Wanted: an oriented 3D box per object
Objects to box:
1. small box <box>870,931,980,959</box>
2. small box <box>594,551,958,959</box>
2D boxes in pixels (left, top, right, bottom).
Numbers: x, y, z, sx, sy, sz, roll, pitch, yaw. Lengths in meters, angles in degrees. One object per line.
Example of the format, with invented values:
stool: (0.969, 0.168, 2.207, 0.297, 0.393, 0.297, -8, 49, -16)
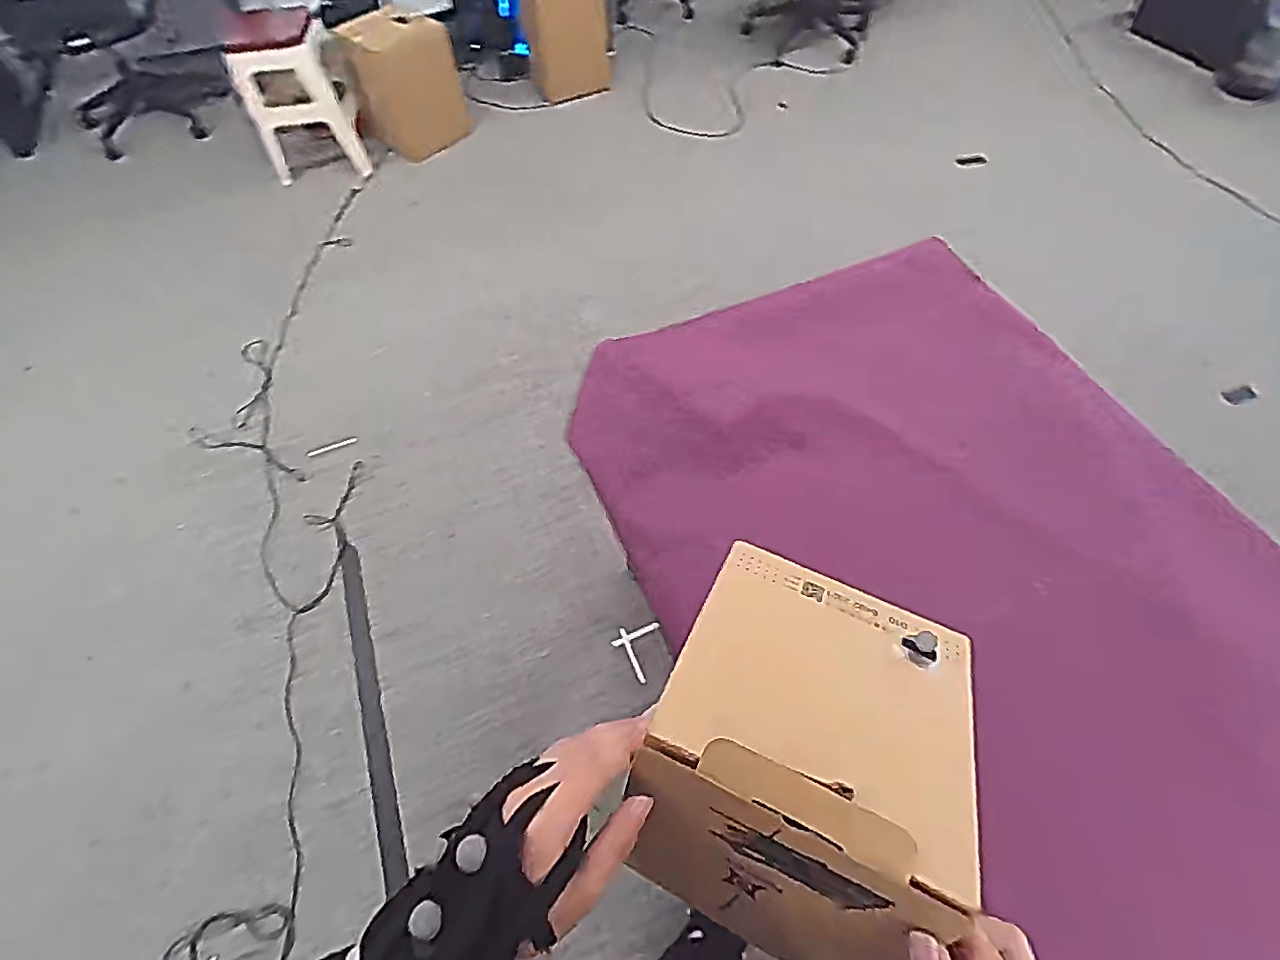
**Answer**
small box: (0.452, 0.822, 0.813, 0.168, 0.176, 0.179, -22, 61, -10)
small box: (0.085, 0.178, 0.368, 0.168, 0.179, 0.176, 21, 39, 14)
